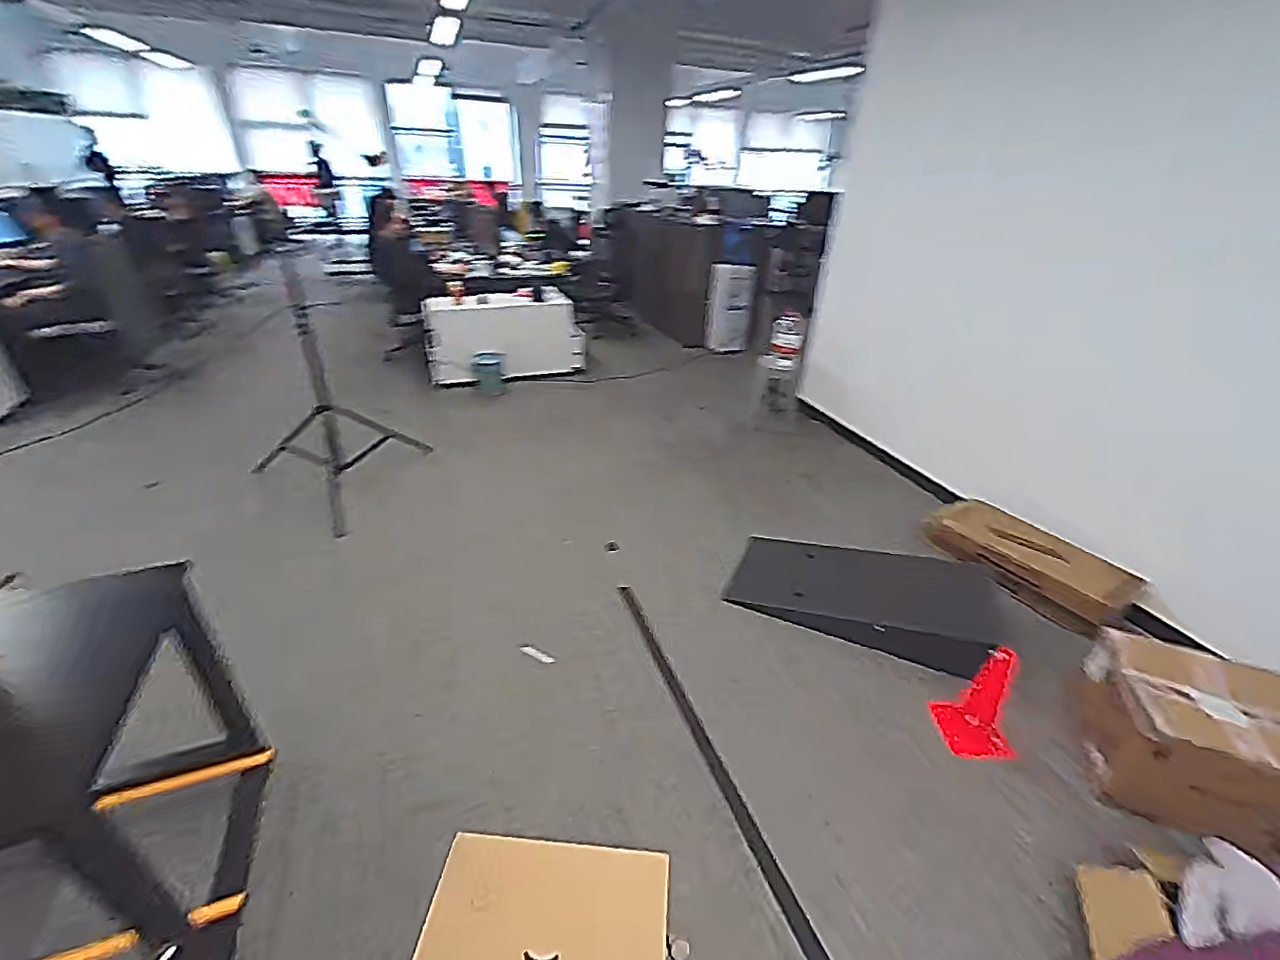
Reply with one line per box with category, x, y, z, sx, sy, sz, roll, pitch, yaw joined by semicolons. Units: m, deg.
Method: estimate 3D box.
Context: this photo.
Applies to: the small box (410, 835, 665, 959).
small box;-0.069;0.389;0.378;0.168;0.176;0.179;1;32;4
